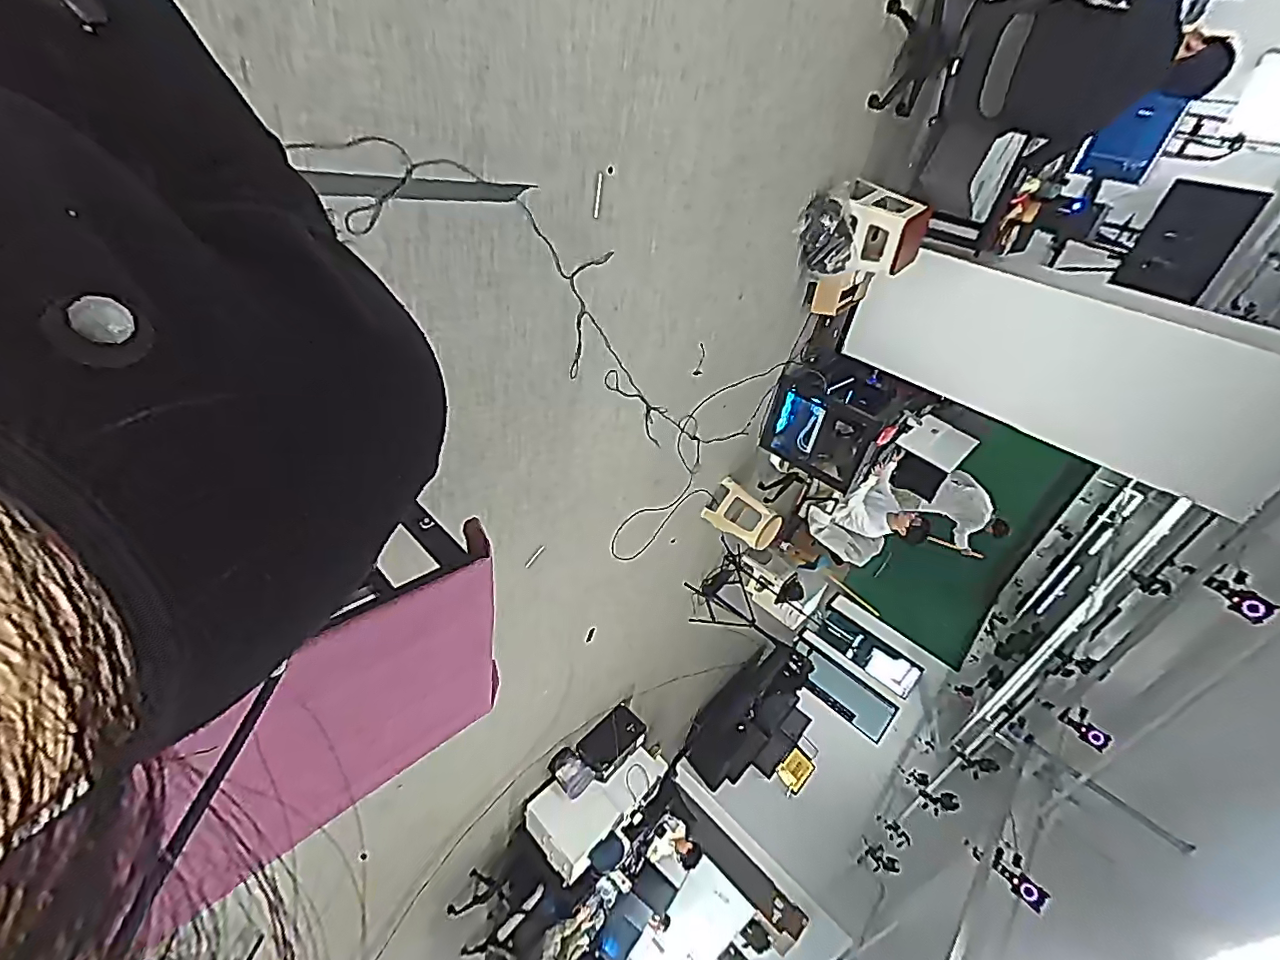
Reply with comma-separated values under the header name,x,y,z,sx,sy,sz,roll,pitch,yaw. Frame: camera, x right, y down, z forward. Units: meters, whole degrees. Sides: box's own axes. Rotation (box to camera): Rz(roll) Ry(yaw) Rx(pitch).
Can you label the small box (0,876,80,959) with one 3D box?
name,x,y,z,sx,sy,sz,roll,pitch,yaw
small box,-0.923,0.716,0.753,0.179,0.176,0.168,-25,139,-43
